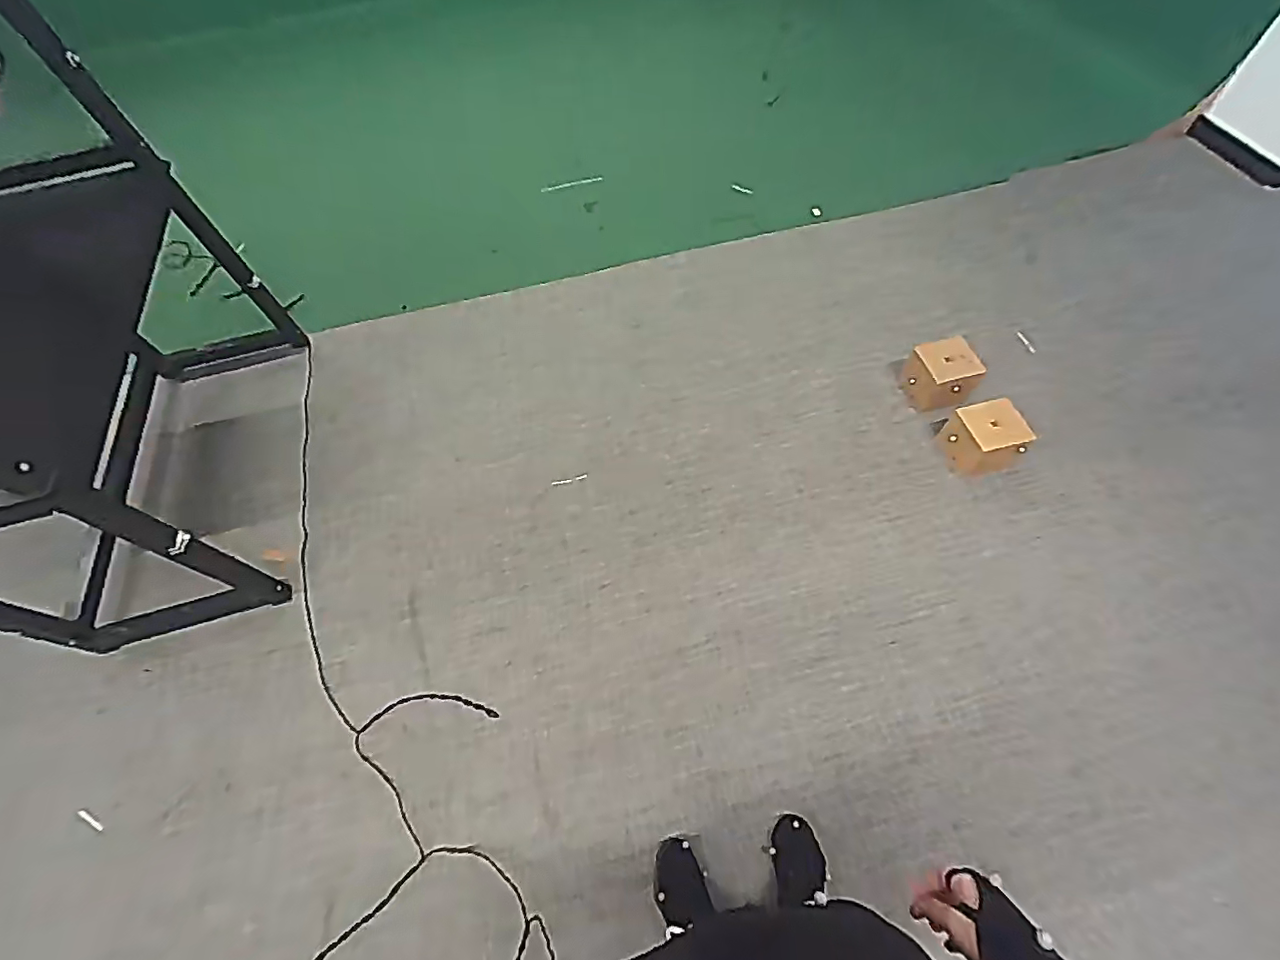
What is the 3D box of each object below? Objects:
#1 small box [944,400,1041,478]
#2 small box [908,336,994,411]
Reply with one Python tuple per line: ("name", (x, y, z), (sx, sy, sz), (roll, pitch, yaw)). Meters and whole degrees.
("small box", (1.090, -0.123, 1.695), (0.179, 0.176, 0.168), (-12, 61, -3))
("small box", (1.032, -0.352, 1.821), (0.179, 0.176, 0.168), (-11, 62, -3))
